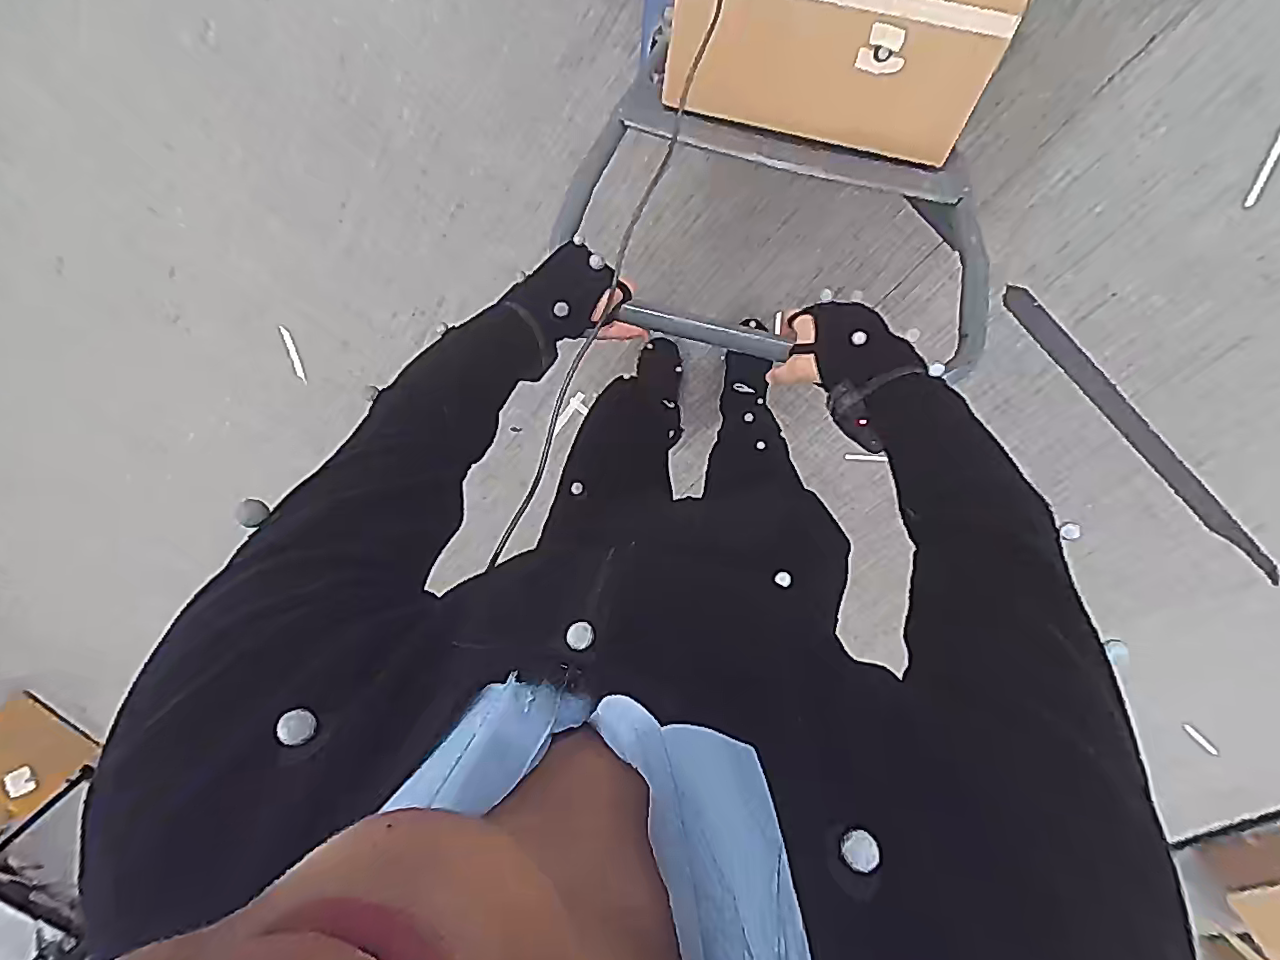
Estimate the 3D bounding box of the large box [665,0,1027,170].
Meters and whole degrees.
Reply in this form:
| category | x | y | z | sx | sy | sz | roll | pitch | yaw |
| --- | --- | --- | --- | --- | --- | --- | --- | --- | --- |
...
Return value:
| category | x | y | z | sx | sy | sz | roll | pitch | yaw |
| --- | --- | --- | --- | --- | --- | --- | --- | --- | --- |
| large box | 0.271 | -0.680 | 0.737 | 0.408 | 0.320 | 0.320 | 14 | 142 | 2 |
